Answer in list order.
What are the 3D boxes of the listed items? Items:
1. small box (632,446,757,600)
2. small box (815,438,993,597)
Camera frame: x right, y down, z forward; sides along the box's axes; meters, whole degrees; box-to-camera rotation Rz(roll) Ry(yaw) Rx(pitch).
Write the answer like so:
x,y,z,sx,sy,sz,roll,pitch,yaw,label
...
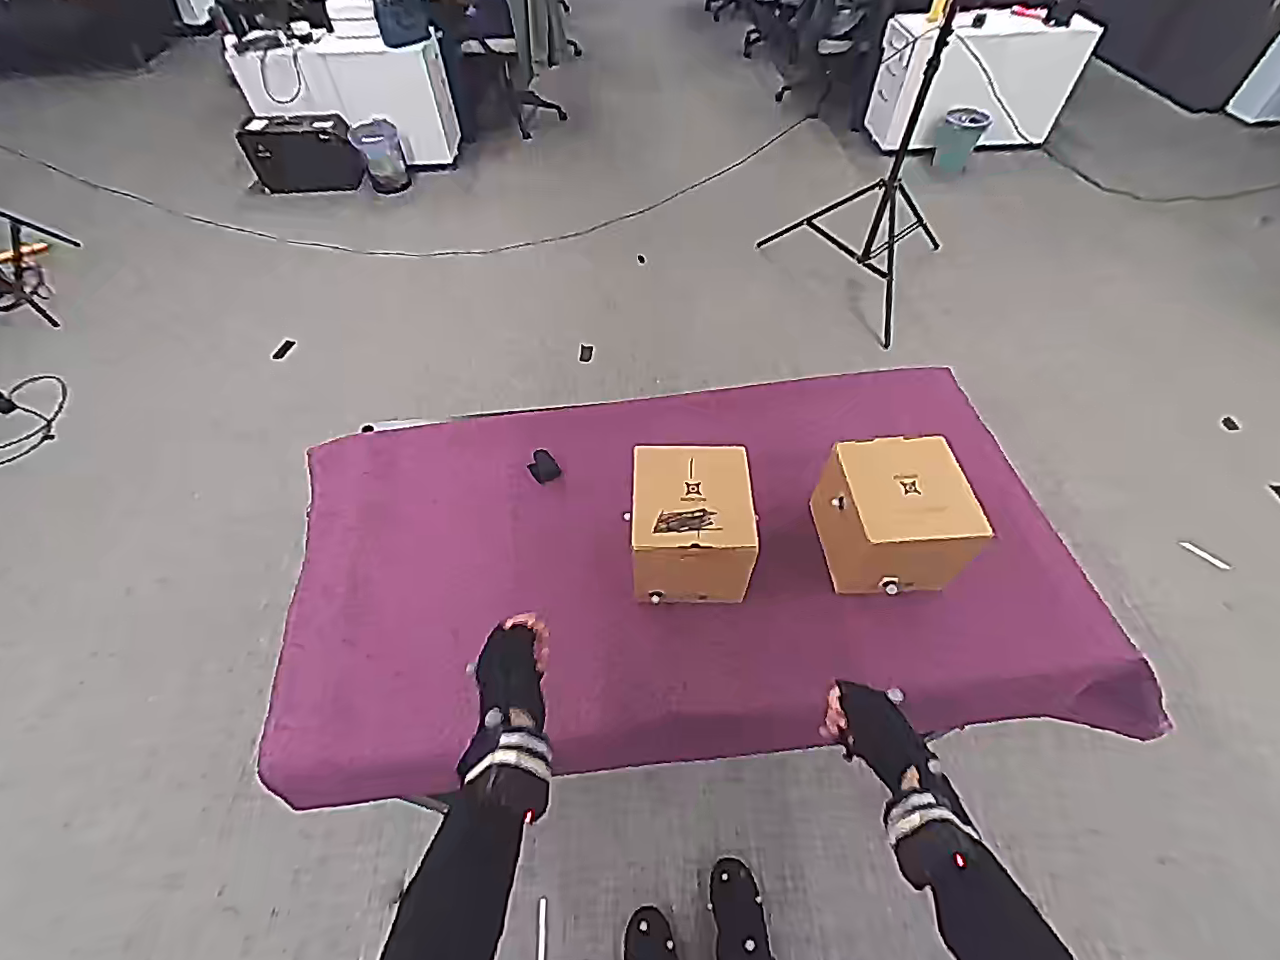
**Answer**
x,y,z,sx,sy,sz,roll,pitch,yaw,label
0.076,0.069,0.811,0.168,0.176,0.179,1,52,1,small box
0.378,0.059,0.817,0.168,0.176,0.179,-4,53,0,small box
